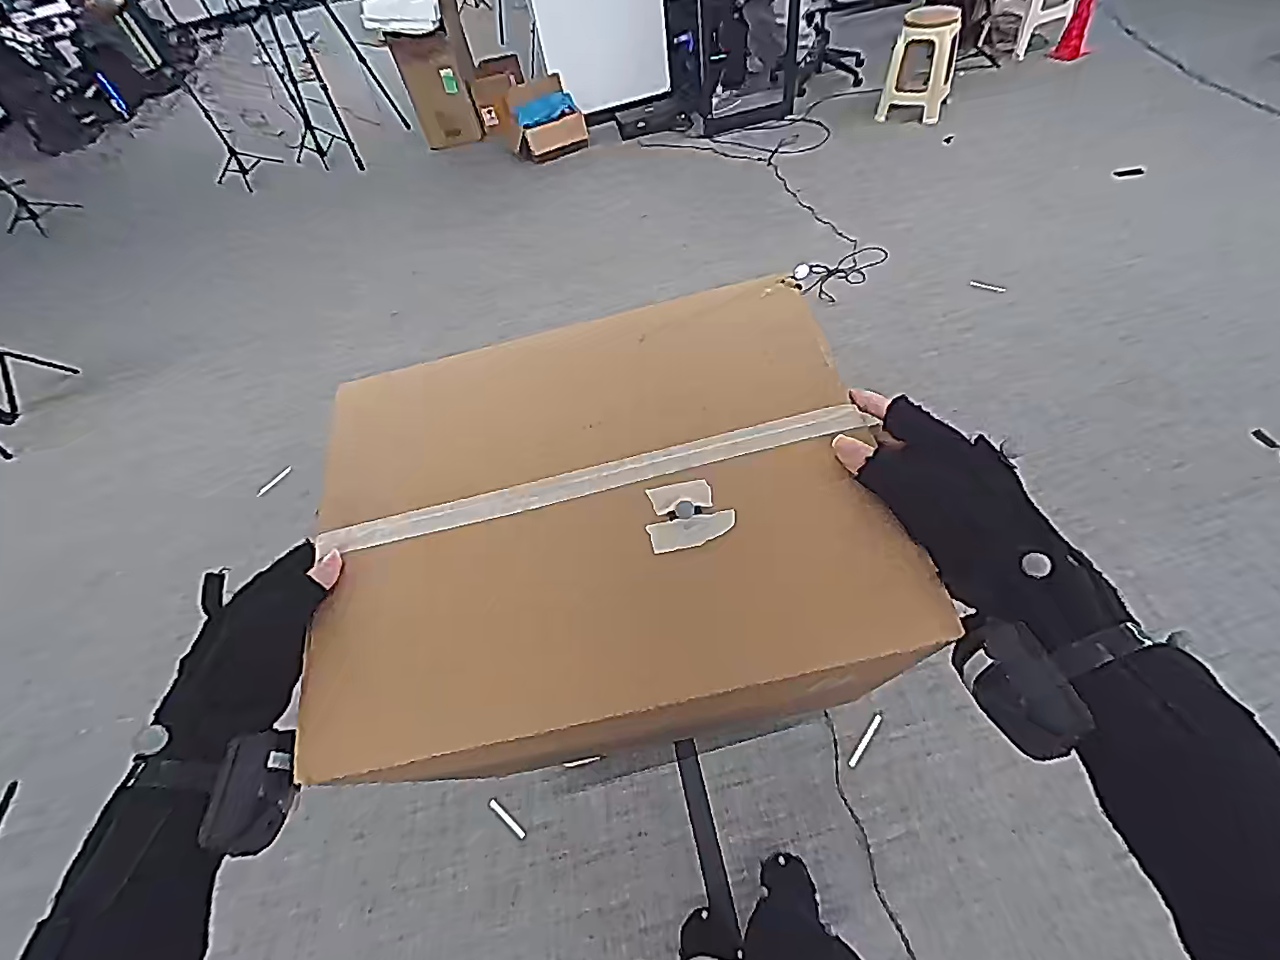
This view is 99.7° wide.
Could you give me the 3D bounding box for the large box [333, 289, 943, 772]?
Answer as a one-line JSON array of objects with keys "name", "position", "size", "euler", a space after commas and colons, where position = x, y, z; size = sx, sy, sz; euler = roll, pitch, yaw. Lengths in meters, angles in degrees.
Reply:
[{"name": "large box", "position": [-0.012, 0.076, 0.538], "size": [0.408, 0.320, 0.320], "euler": [-13, 61, 2]}]
